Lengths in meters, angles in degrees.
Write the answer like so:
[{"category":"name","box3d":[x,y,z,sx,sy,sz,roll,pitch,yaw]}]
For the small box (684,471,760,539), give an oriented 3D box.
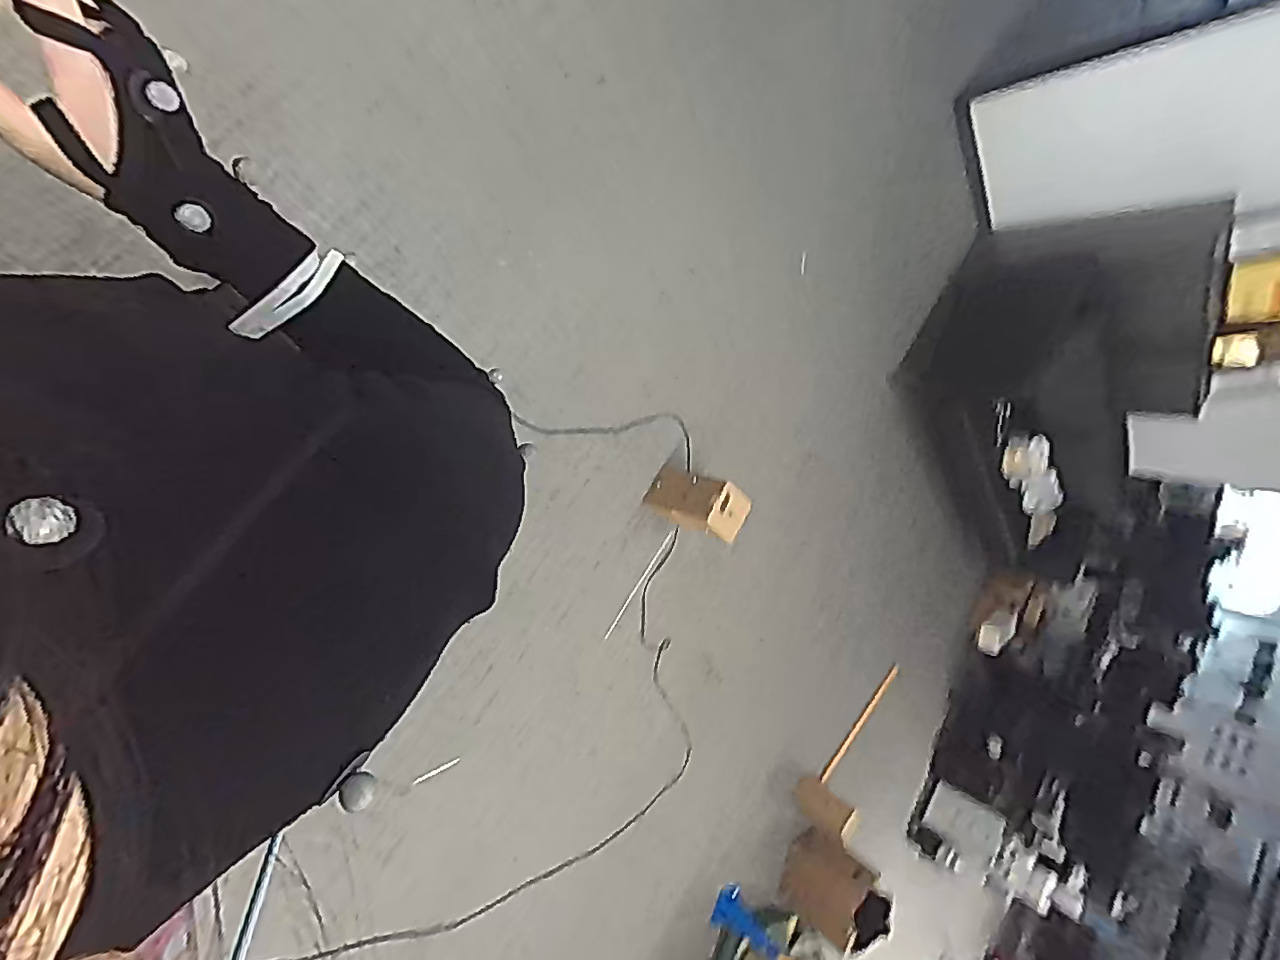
[{"category":"small box","box3d":[0.287,0.083,1.920,0.179,0.176,0.168,40,76,-39]}]
